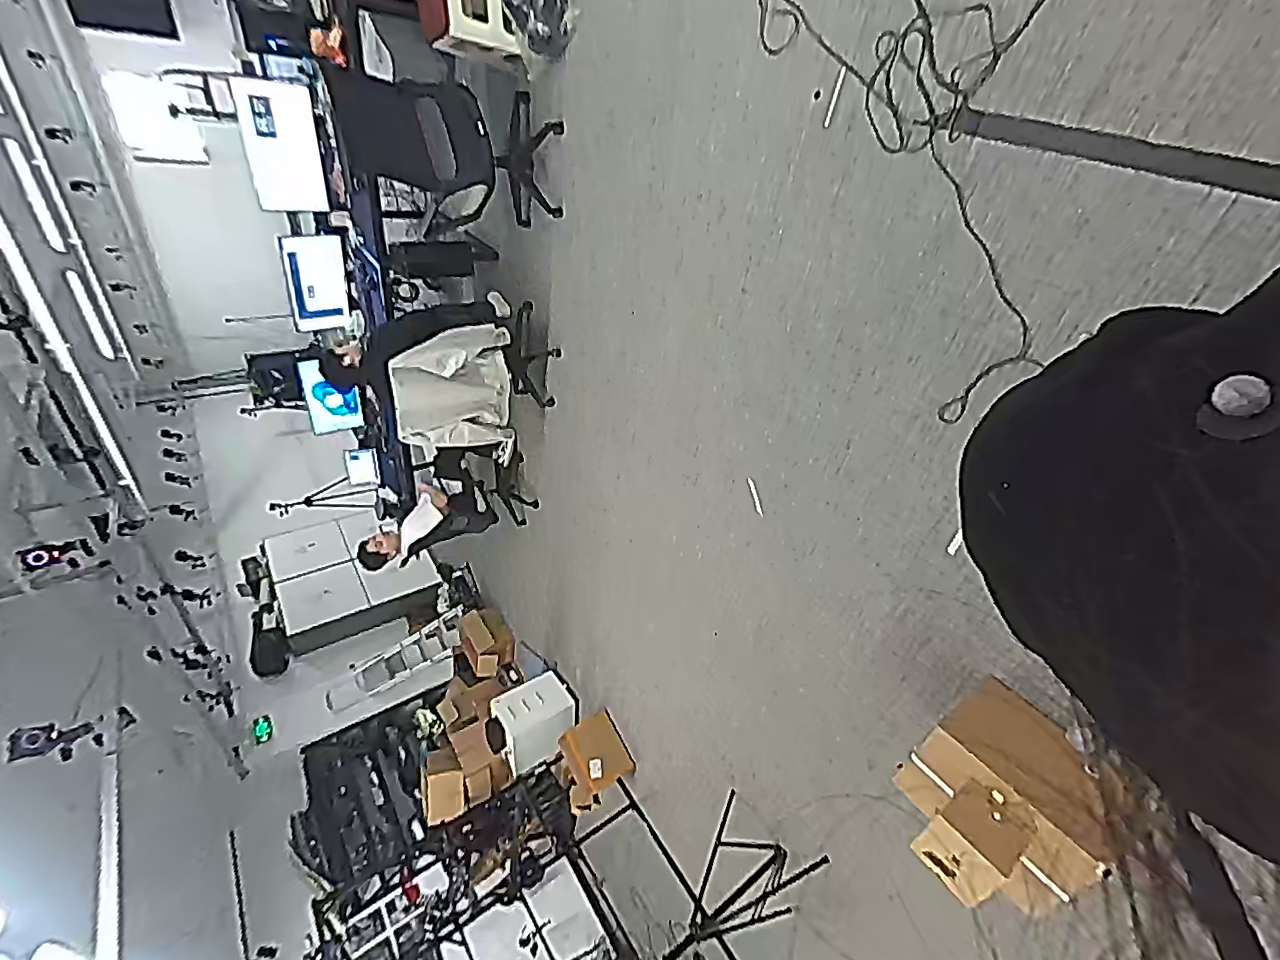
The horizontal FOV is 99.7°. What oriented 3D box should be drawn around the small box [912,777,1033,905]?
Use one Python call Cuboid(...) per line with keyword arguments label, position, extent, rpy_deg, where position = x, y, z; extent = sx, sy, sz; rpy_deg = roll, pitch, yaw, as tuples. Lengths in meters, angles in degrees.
Cuboid(label="small box", position=(0.818, 0.882, 1.331), extent=(0.168, 0.176, 0.179), rpy_deg=(41, 135, 38))
